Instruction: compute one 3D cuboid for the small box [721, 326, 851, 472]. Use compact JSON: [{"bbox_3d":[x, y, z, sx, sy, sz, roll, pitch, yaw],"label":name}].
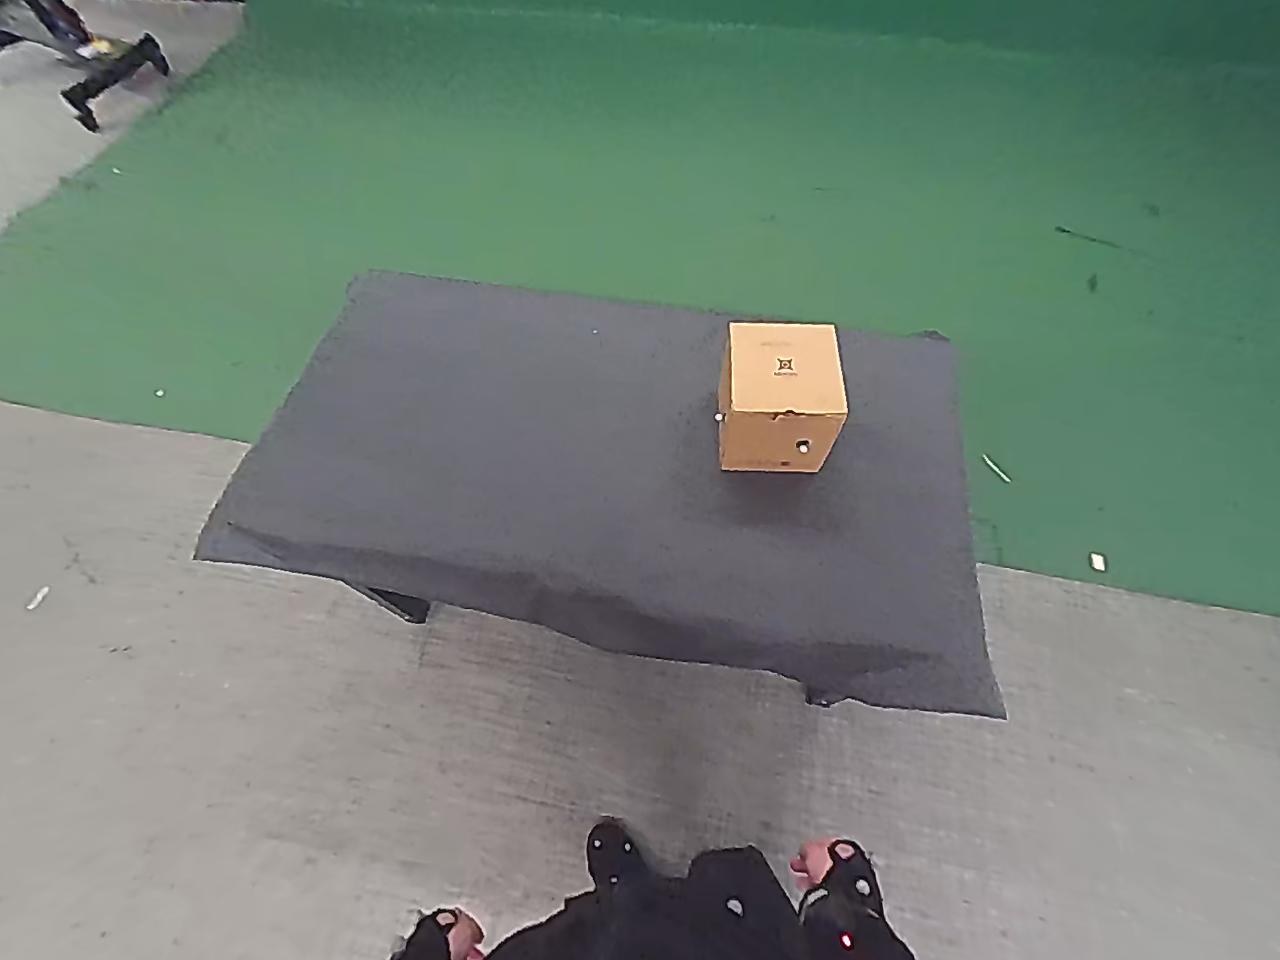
[{"bbox_3d":[0.227,-0.127,0.884,0.168,0.176,0.179,3,60,1],"label":"small box"}]
